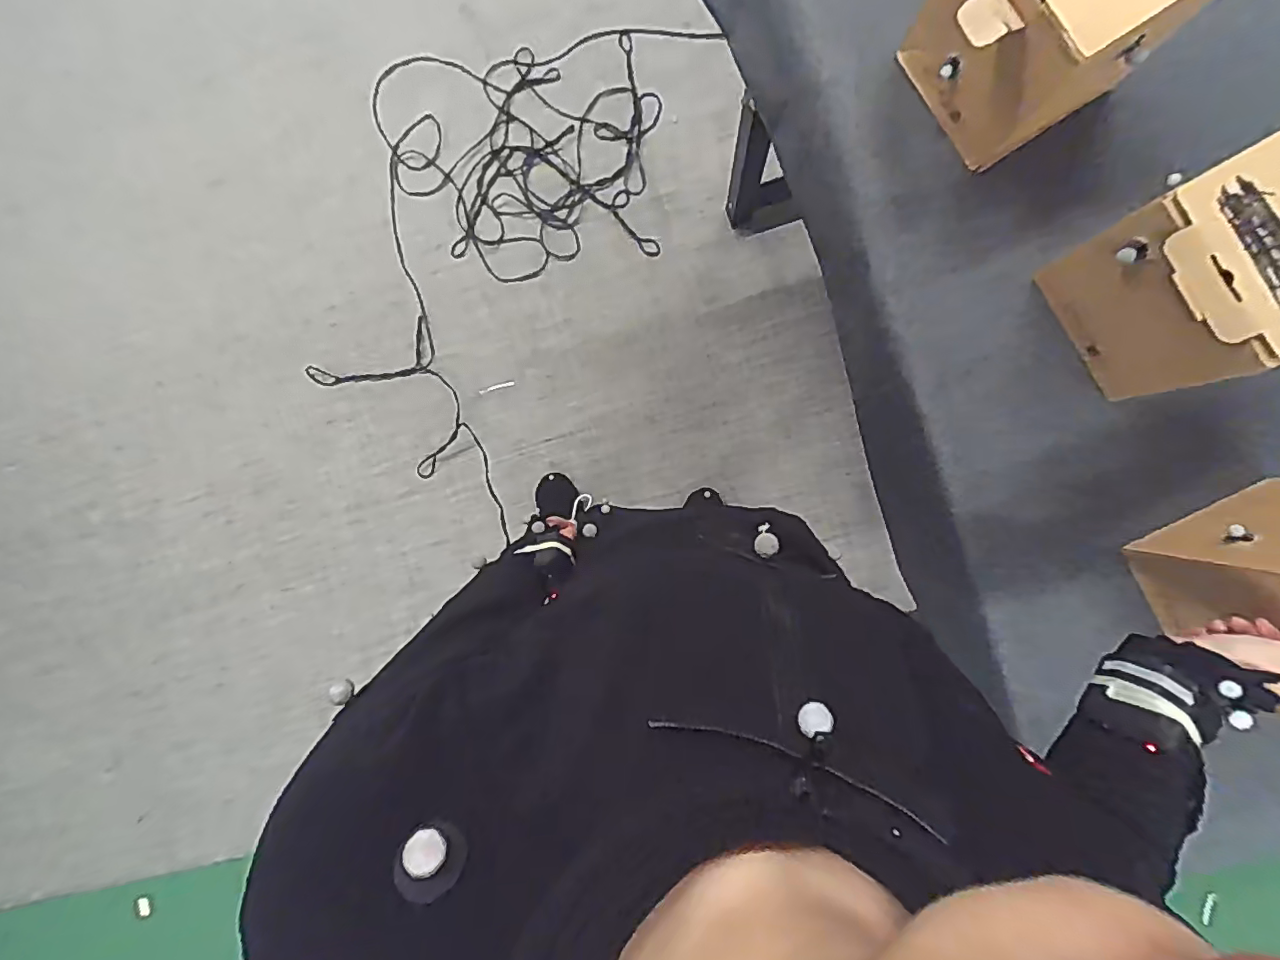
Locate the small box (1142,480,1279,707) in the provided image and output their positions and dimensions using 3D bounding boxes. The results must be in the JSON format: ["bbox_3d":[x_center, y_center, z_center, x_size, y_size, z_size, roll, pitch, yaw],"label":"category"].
[{"bbox_3d":[0.633,0.108,0.502,0.179,0.176,0.168,-28,89,2],"label":"small box"}]

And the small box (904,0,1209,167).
[{"bbox_3d":[0.398,-0.455,0.519,0.179,0.176,0.168,-32,88,4],"label":"small box"}]
